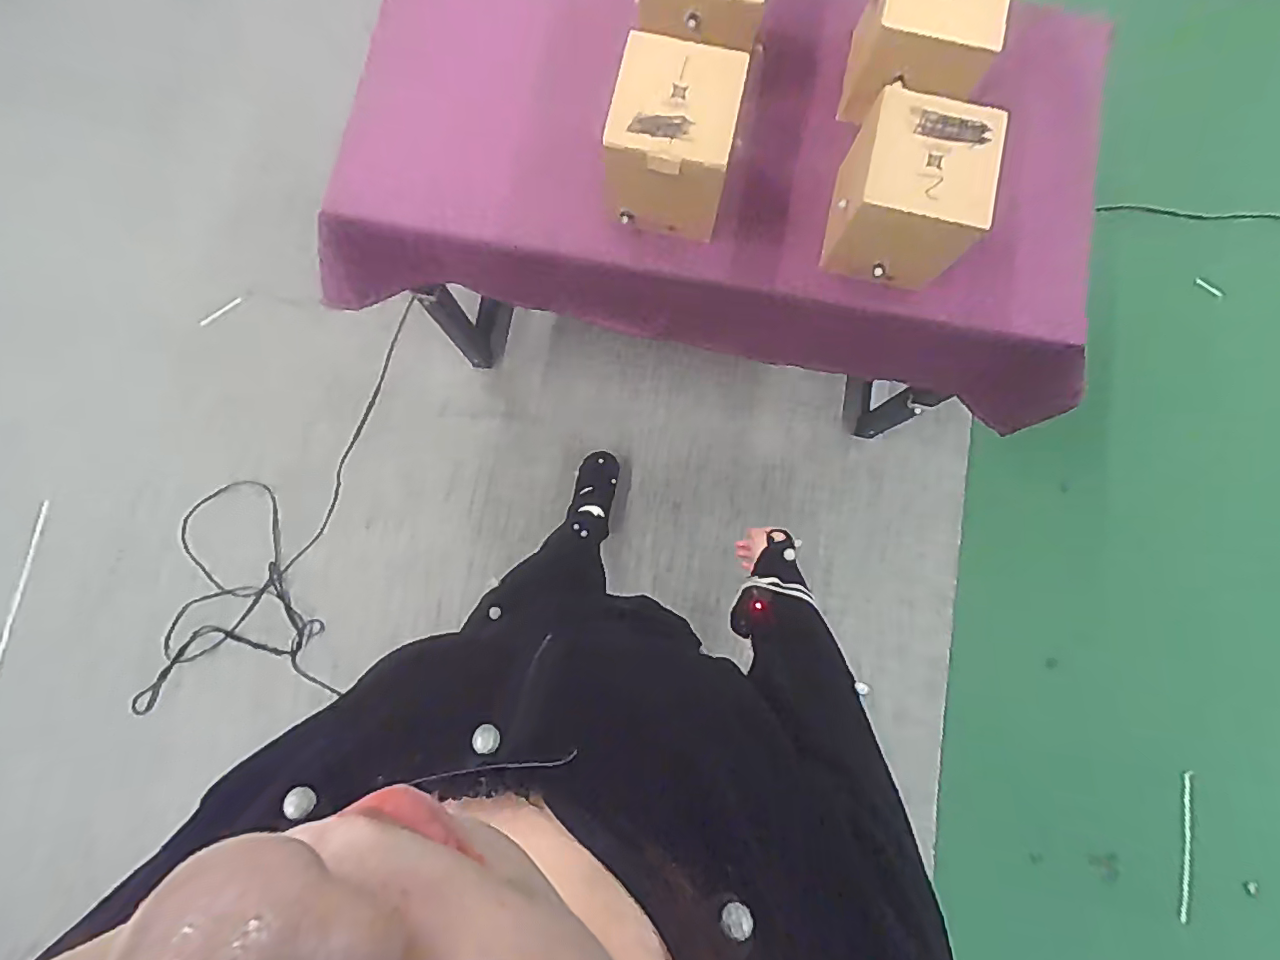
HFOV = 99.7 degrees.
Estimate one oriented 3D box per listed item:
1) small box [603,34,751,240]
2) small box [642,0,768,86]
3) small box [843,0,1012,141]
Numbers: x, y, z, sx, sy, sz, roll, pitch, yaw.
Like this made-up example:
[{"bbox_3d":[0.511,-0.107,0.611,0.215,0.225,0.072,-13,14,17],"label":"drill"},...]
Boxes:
[{"bbox_3d":[0.050,-0.480,0.781,0.168,0.176,0.179,12,80,1],"label":"small box"},{"bbox_3d":[0.102,-0.721,0.819,0.179,0.176,0.168,14,82,1],"label":"small box"},{"bbox_3d":[0.423,-0.655,0.811,0.168,0.176,0.179,14,81,2],"label":"small box"}]
